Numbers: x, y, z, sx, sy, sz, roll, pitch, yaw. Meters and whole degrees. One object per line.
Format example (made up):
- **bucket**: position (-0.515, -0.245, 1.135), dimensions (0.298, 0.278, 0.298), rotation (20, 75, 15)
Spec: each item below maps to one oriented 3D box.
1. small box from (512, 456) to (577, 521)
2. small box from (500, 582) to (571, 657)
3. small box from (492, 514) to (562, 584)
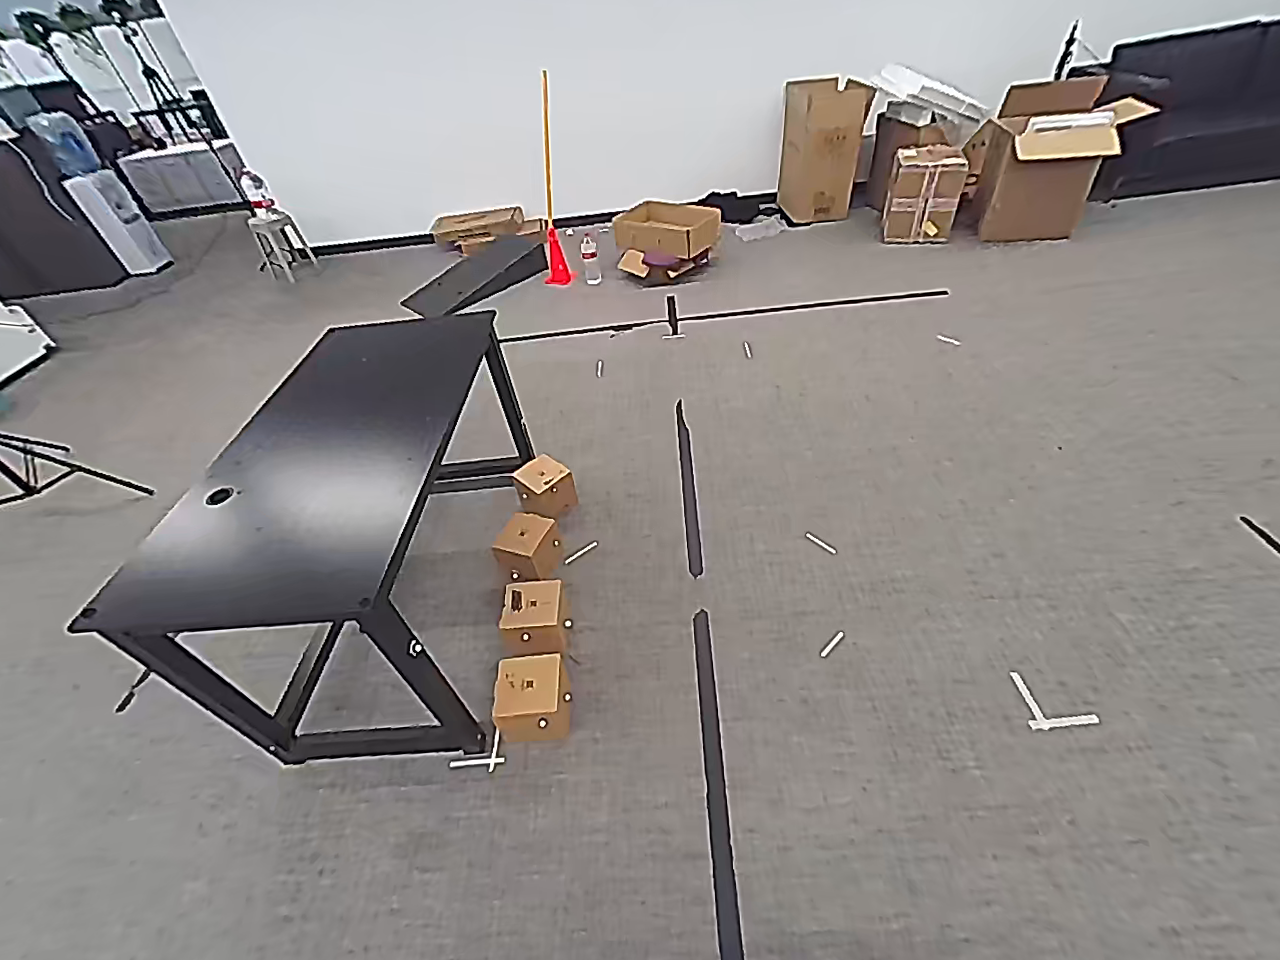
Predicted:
- **small box**: position (-0.375, 0.040, 2.146), dimensions (0.179, 0.176, 0.168), rotation (29, 55, 33)
- **small box**: position (-0.325, 0.443, 1.707), dimensions (0.179, 0.176, 0.168), rotation (-5, 43, 2)
- **small box**: position (-0.394, 0.250, 1.928), dimensions (0.168, 0.176, 0.179), rotation (9, 47, 19)
